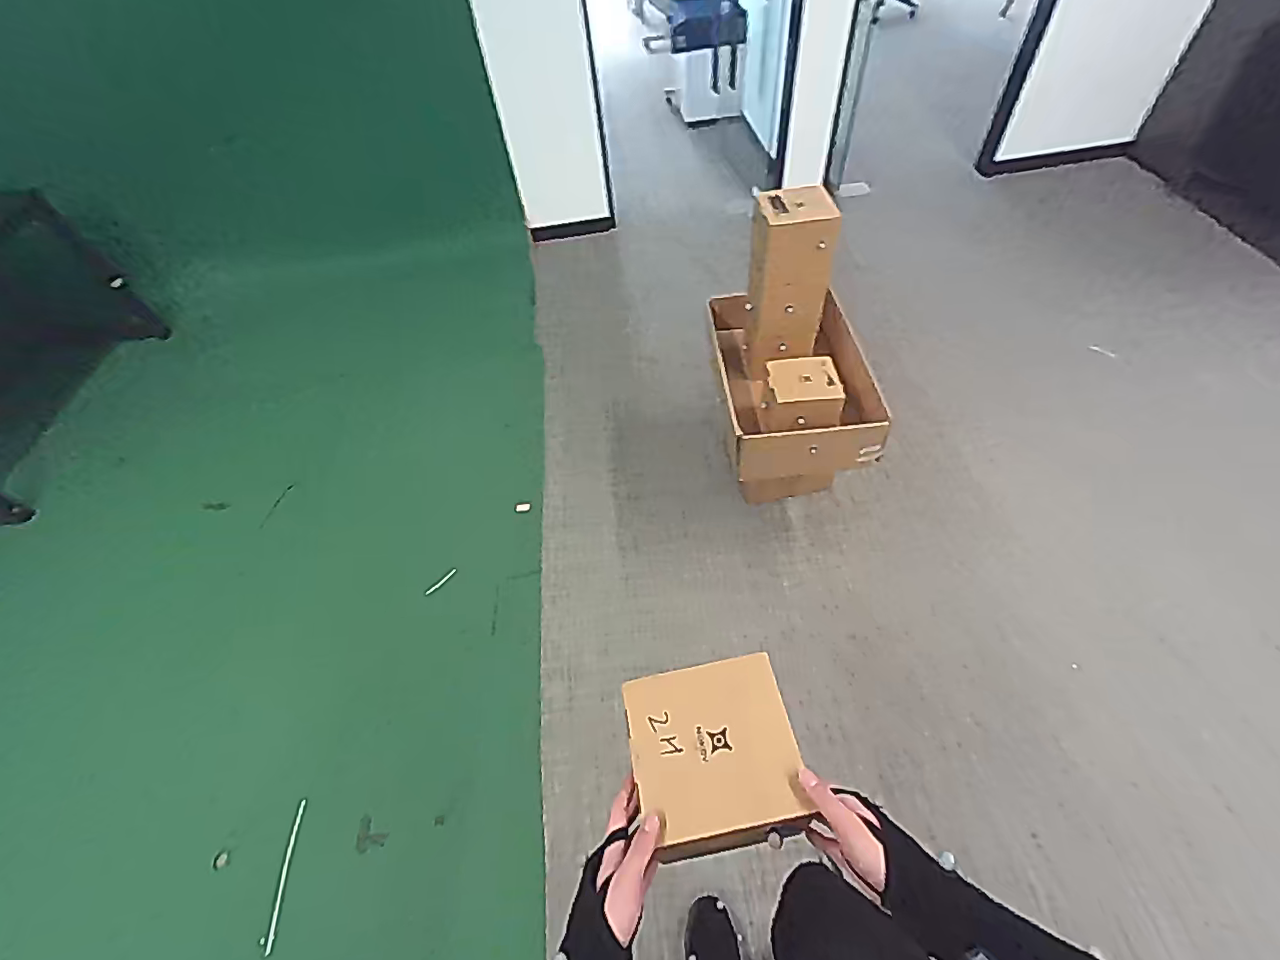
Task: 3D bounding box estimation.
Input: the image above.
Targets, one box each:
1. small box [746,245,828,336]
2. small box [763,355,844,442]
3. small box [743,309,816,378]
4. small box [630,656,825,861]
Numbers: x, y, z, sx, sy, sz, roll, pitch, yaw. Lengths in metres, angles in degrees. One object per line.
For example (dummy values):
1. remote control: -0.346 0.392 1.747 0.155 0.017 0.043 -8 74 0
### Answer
1. small box: 0.404 -0.527 1.514 0.179 0.176 0.168 -8 53 1
2. small box: 0.438 -0.218 1.482 0.179 0.176 0.168 -5 52 3
3. small box: 0.419 -0.433 1.649 0.179 0.176 0.168 -6 54 2
4. small box: 0.093 0.328 0.631 0.179 0.176 0.168 -12 50 0
